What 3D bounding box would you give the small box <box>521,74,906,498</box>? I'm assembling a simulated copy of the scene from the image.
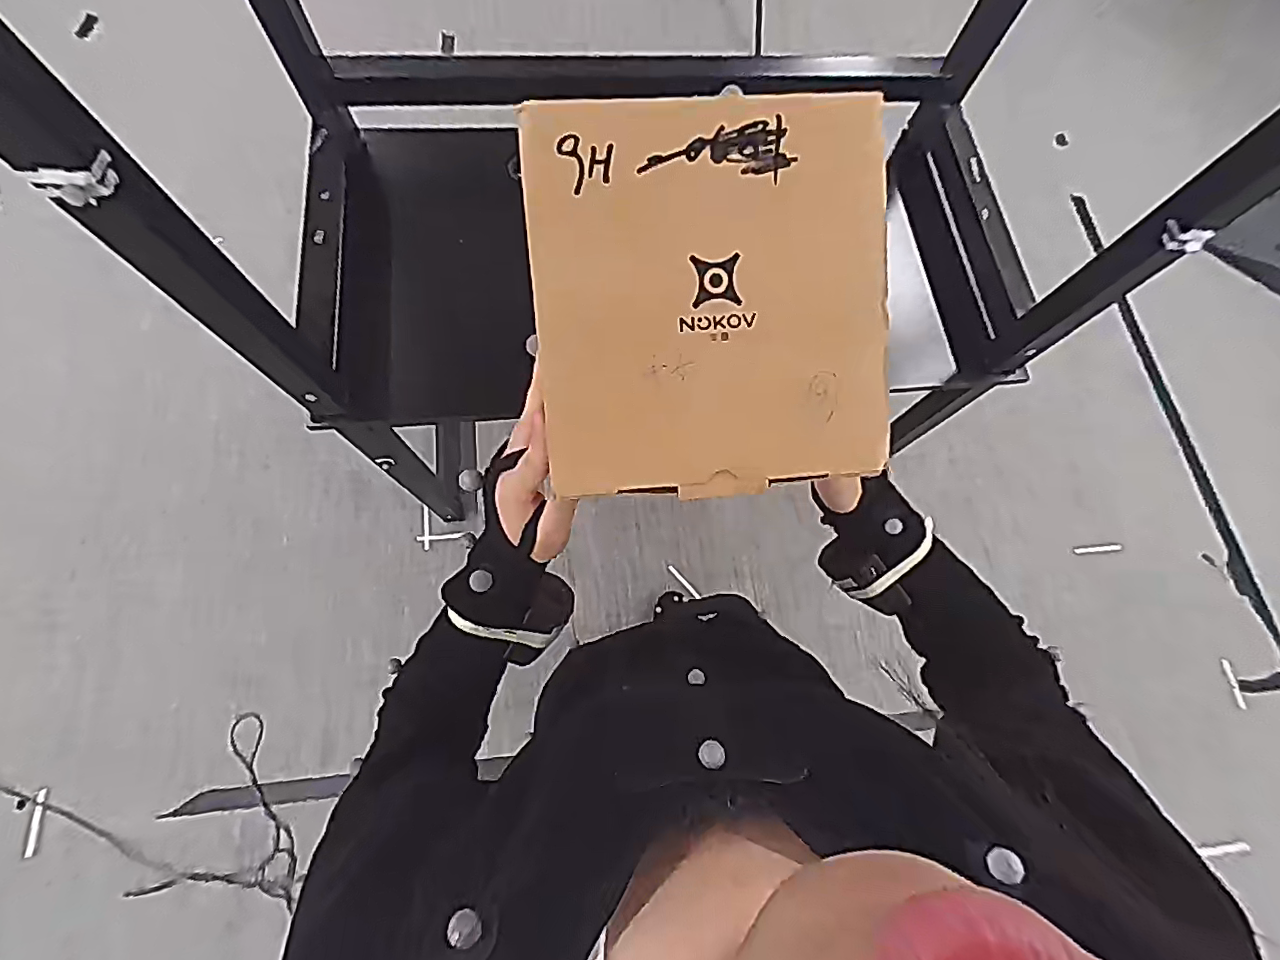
[{"bbox_3d":[0.030,-0.095,0.318,0.168,0.176,0.179,-5,99,-5],"label":"small box"}]
